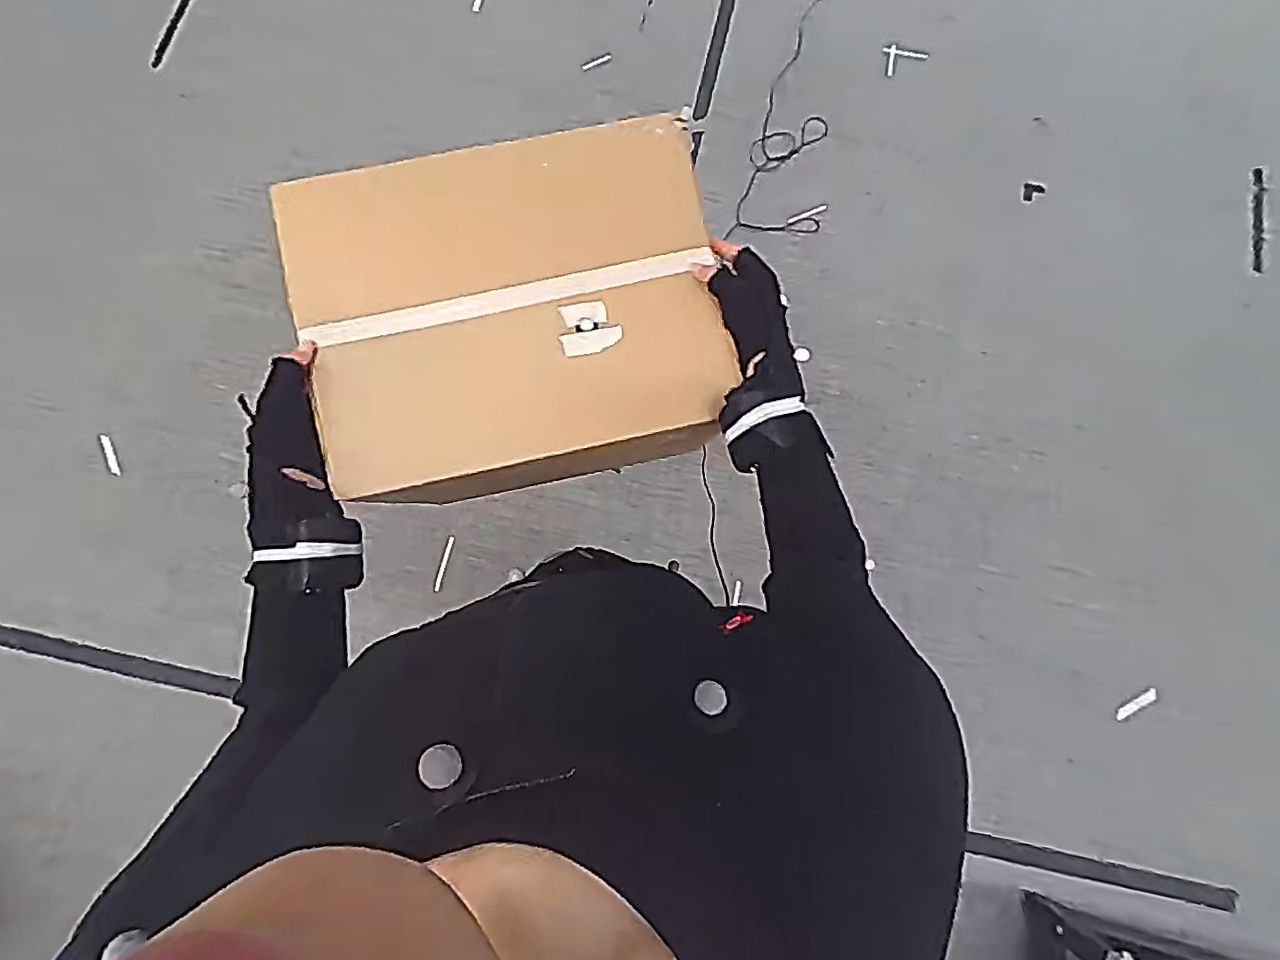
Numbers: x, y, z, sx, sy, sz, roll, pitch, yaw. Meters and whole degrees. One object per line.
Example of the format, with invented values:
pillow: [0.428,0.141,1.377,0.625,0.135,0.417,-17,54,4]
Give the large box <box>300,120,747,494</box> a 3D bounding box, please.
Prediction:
large box: [-0.123,-0.175,0.687,0.408,0.320,0.320,-11,88,-3]
